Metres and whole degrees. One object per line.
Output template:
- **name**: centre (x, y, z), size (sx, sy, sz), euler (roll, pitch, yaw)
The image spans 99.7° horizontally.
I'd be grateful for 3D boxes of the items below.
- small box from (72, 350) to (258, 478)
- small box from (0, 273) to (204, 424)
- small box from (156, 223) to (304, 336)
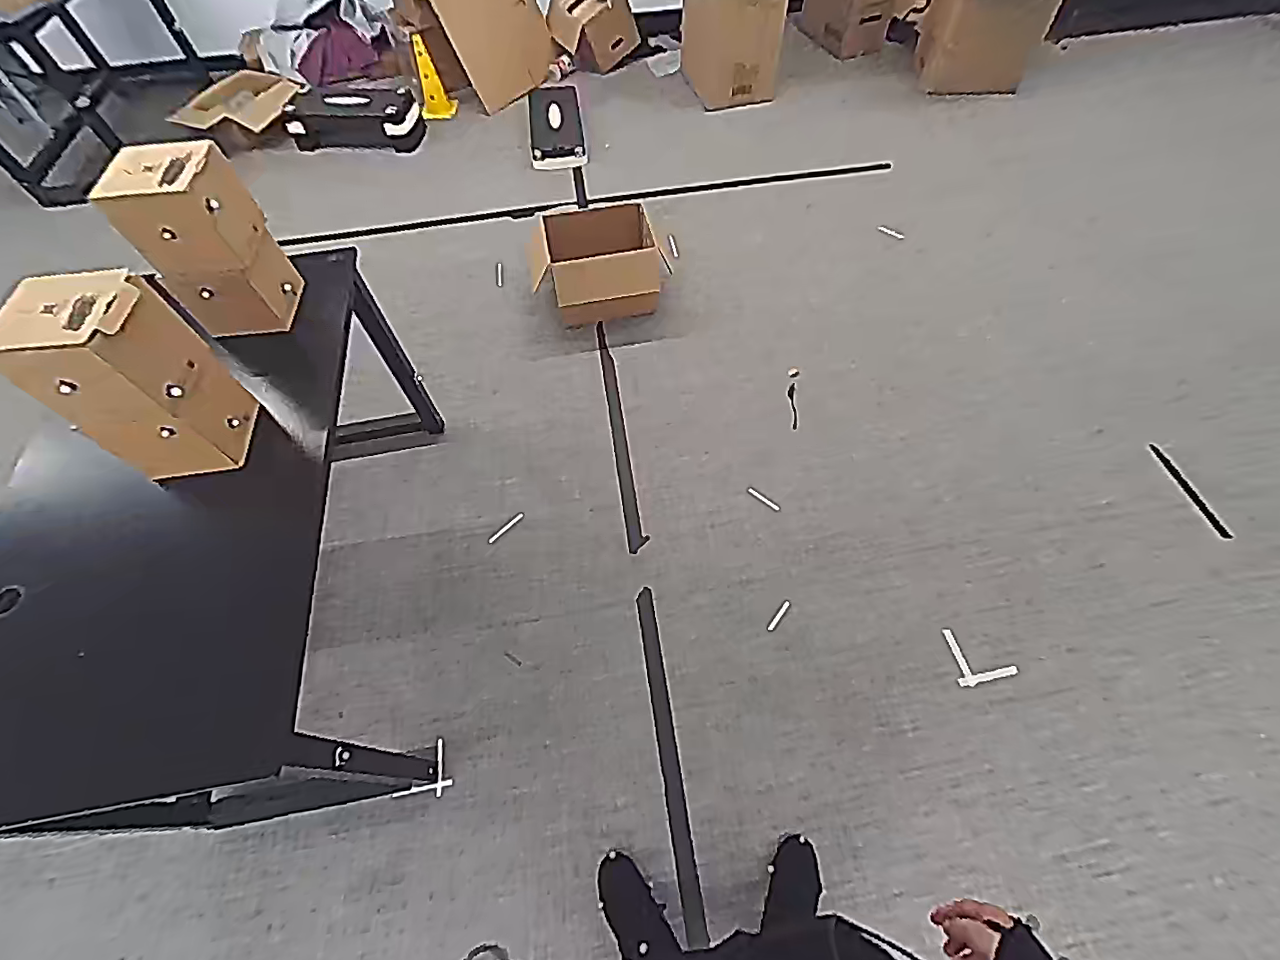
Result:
- **small box**: centre (-0.867, -0.119, 1.010), size (0.179, 0.176, 0.168), euler (-9, 59, -3)
- **small box**: centre (-0.864, -0.206, 0.871), size (0.179, 0.176, 0.168), euler (-4, 59, 0)
- **small box**: centre (-0.892, -0.437, 1.197), size (0.179, 0.176, 0.168), euler (-5, 60, -1)
